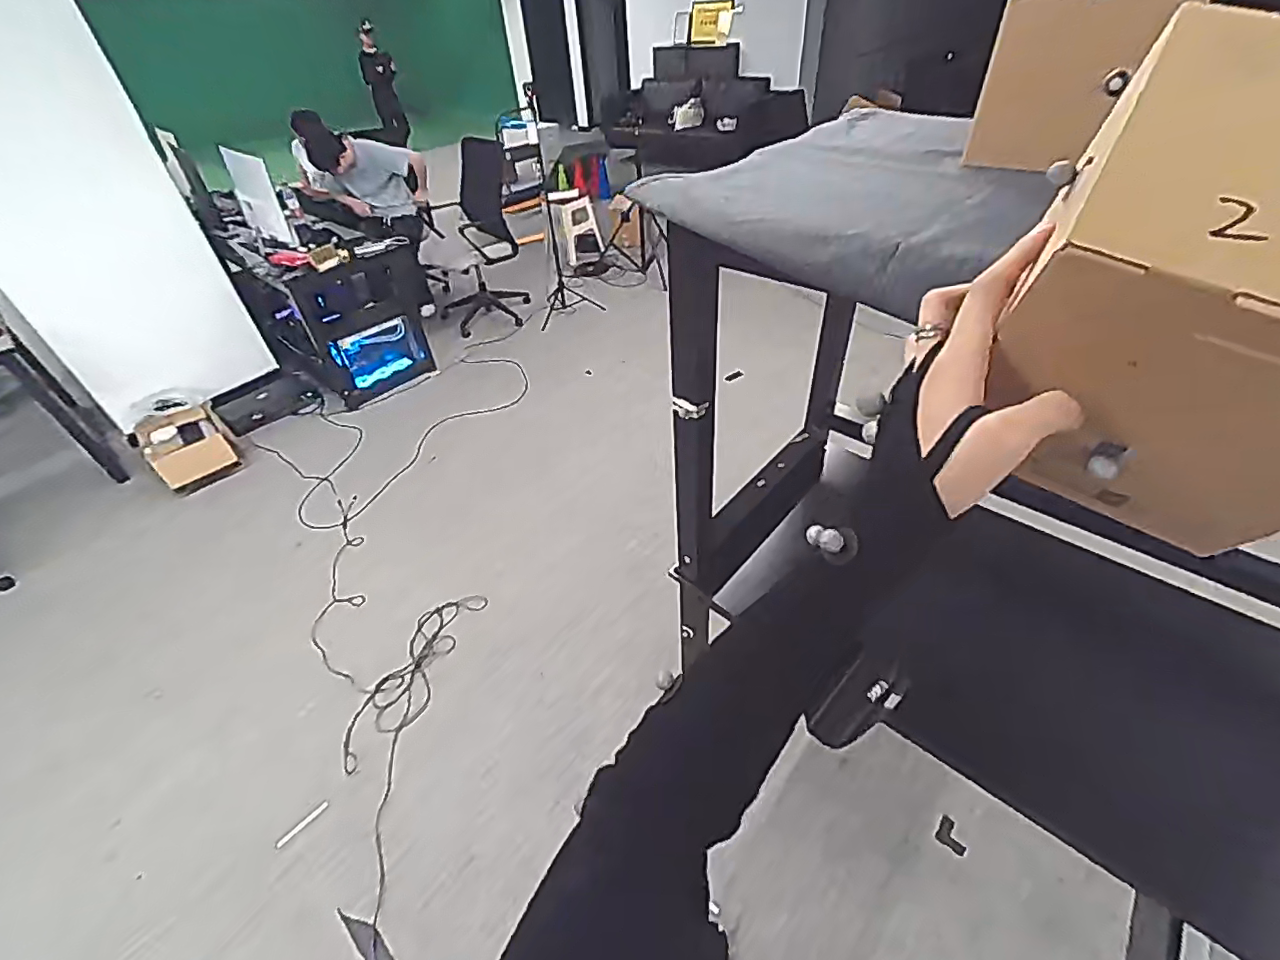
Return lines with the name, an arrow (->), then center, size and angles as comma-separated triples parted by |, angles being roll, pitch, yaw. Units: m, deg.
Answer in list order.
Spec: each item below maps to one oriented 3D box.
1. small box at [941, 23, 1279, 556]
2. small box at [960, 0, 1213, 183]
small box -> 0.297, -0.087, 0.291 | 0.168, 0.176, 0.179 | 29, 74, 19
small box -> 0.525, -0.472, 0.651 | 0.179, 0.176, 0.168 | 26, 51, 29
